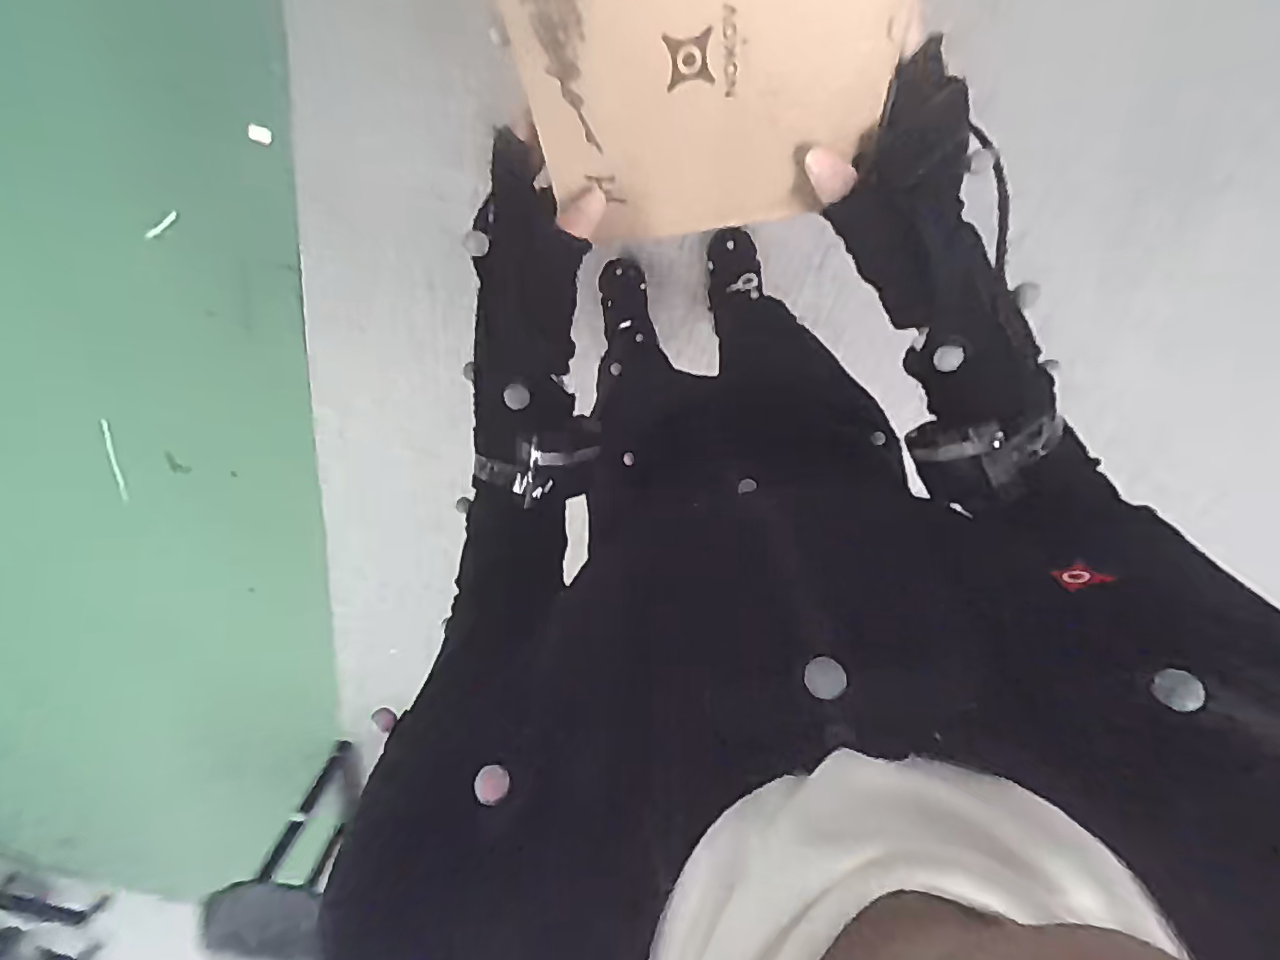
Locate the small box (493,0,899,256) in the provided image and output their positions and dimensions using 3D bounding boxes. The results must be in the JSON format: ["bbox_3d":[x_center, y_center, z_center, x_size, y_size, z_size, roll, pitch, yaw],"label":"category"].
[{"bbox_3d":[0.026,-0.258,0.298,0.179,0.176,0.168,-7,145,7],"label":"small box"}]
